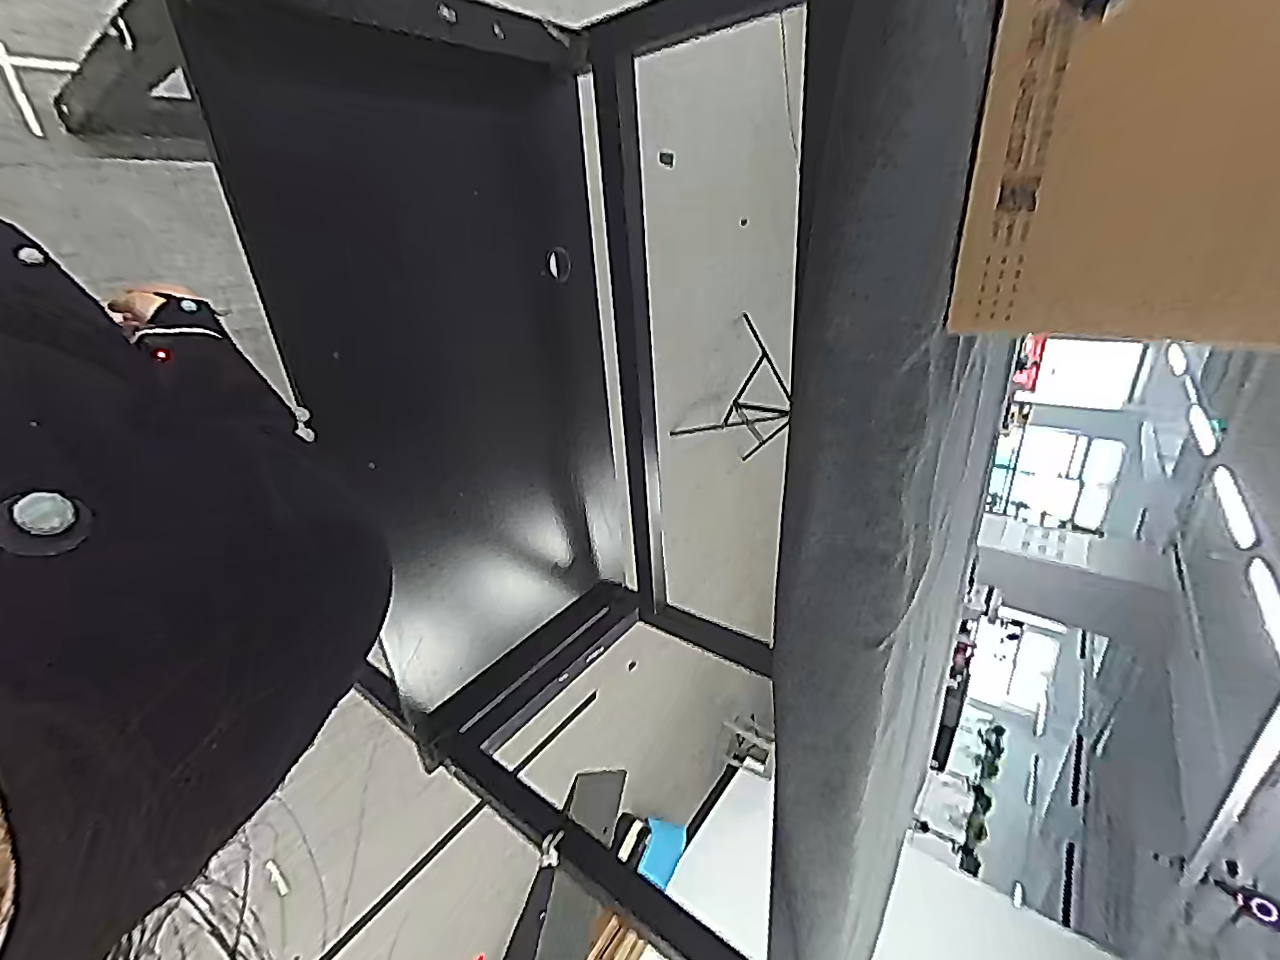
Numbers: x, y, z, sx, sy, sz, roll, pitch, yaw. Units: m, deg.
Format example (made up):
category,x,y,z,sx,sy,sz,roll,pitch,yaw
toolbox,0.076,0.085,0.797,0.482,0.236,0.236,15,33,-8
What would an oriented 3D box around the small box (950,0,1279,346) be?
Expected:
category,x,y,z,sx,sy,sz,roll,pitch,yaw
small box,0.263,-0.163,0.258,0.179,0.176,0.168,-36,131,-45
